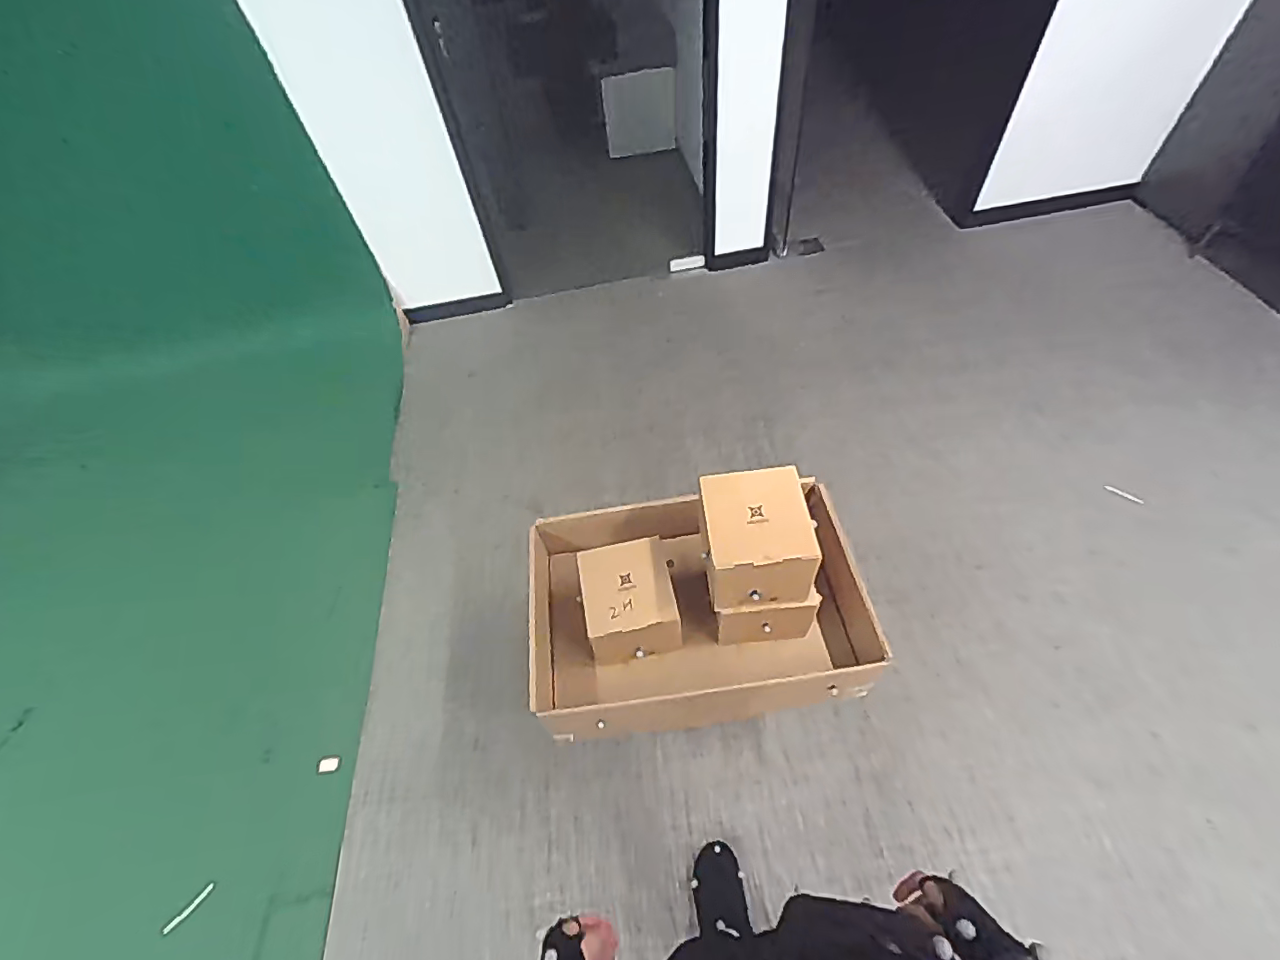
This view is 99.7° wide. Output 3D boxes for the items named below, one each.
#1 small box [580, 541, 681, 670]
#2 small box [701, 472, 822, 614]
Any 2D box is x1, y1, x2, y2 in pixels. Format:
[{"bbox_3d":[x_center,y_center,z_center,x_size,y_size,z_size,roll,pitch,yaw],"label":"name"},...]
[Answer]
[{"bbox_3d":[-0.018,0.246,1.054,0.168,0.176,0.179,-11,53,-2],"label":"small box"},{"bbox_3d":[0.196,0.111,0.929,0.168,0.176,0.179,-7,53,3],"label":"small box"}]
